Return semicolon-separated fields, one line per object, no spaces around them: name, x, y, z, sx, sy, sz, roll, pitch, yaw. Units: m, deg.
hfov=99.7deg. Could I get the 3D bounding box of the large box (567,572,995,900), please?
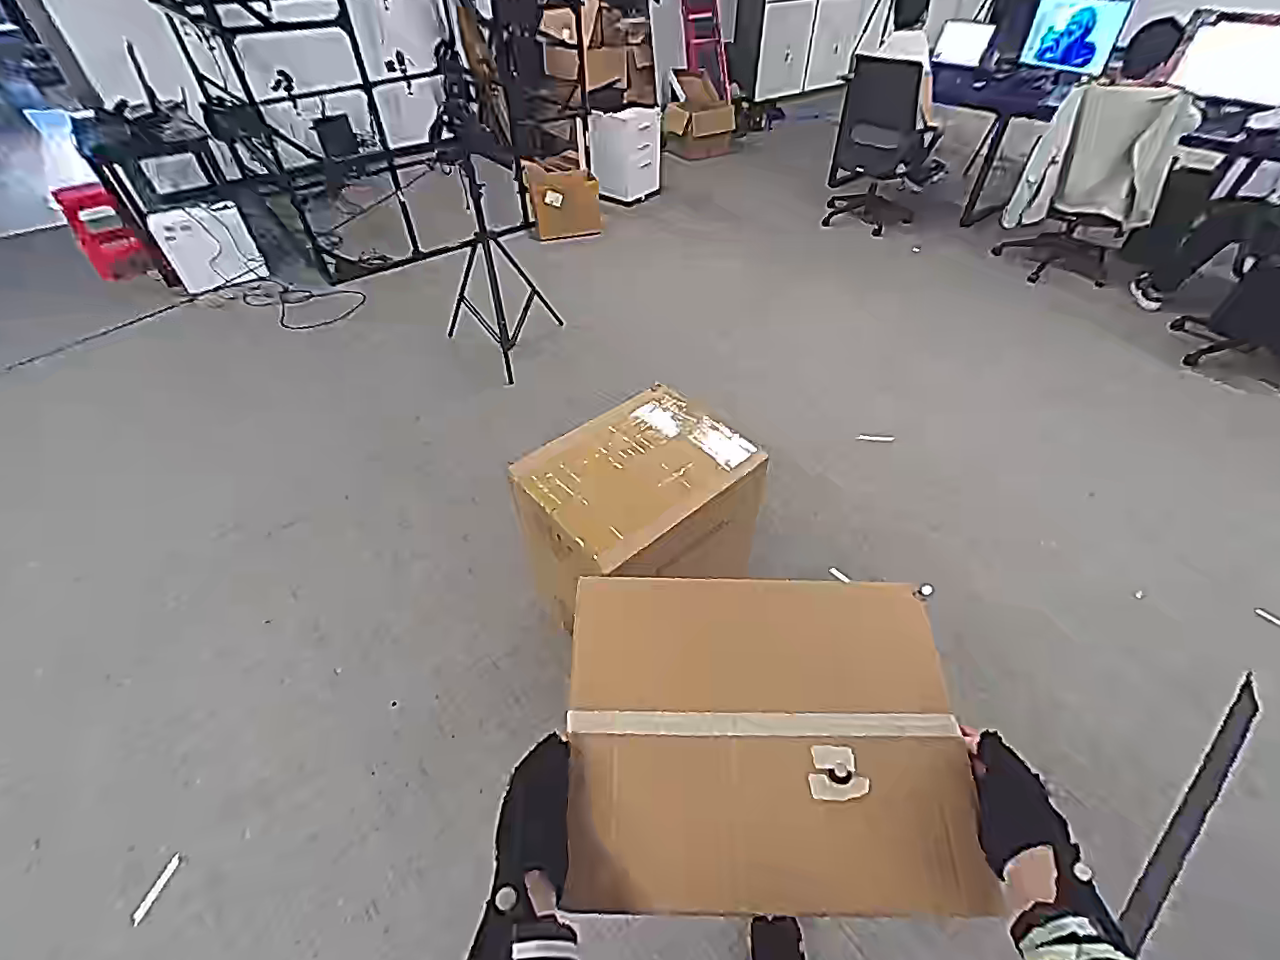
large box;0.122;0.320;0.693;0.408;0.320;0.320;1;59;-2
